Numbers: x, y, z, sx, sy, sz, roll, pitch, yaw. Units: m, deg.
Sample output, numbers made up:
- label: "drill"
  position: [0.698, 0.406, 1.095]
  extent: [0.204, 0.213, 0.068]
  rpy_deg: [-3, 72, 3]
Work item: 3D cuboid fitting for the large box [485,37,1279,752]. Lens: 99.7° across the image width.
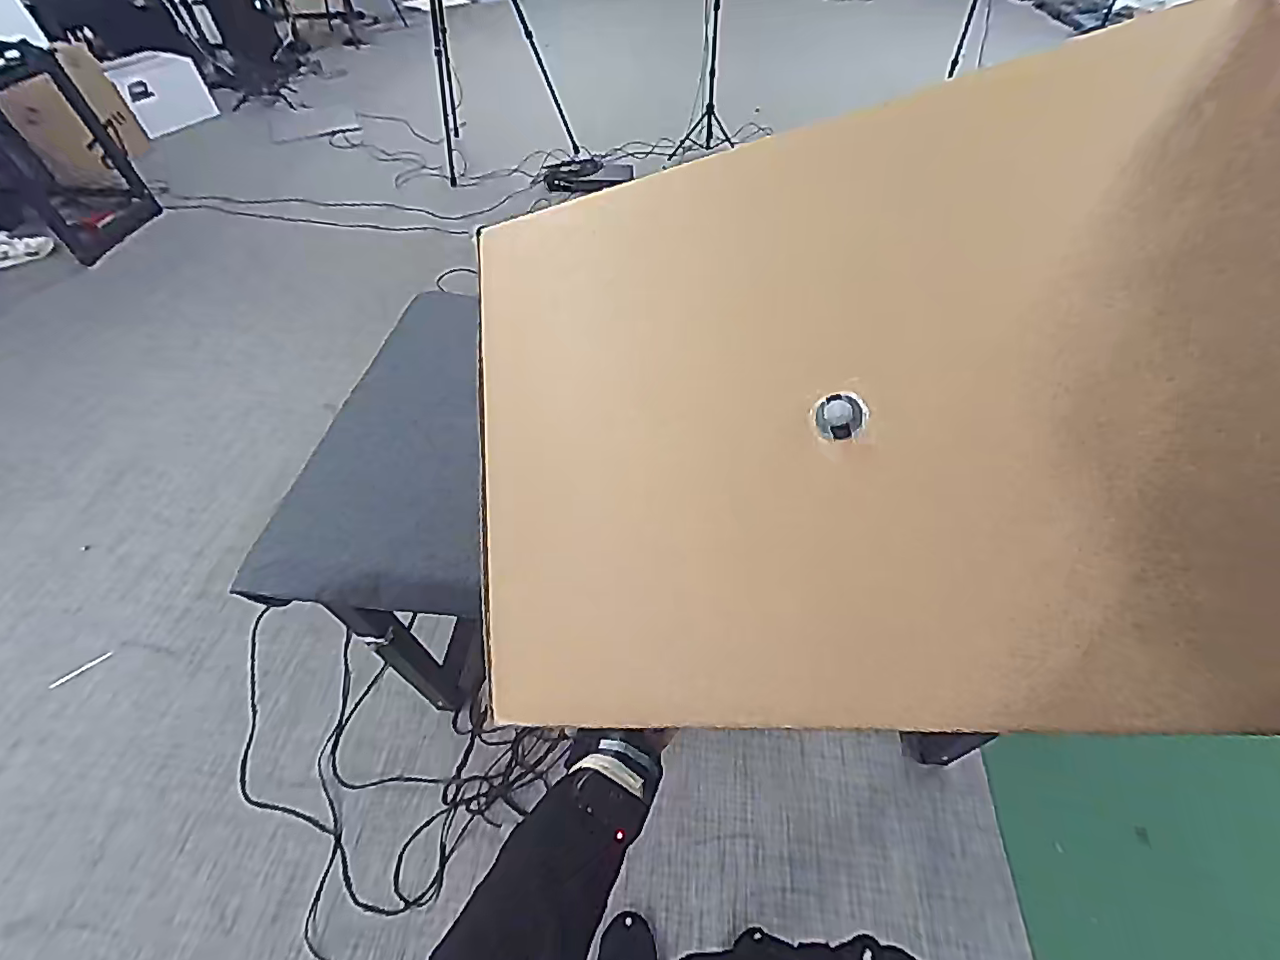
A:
- label: "large box"
  position: [0.147, -0.007, 0.413]
  extent: [0.408, 0.320, 0.320]
  rpy_deg: [-9, 78, 17]
